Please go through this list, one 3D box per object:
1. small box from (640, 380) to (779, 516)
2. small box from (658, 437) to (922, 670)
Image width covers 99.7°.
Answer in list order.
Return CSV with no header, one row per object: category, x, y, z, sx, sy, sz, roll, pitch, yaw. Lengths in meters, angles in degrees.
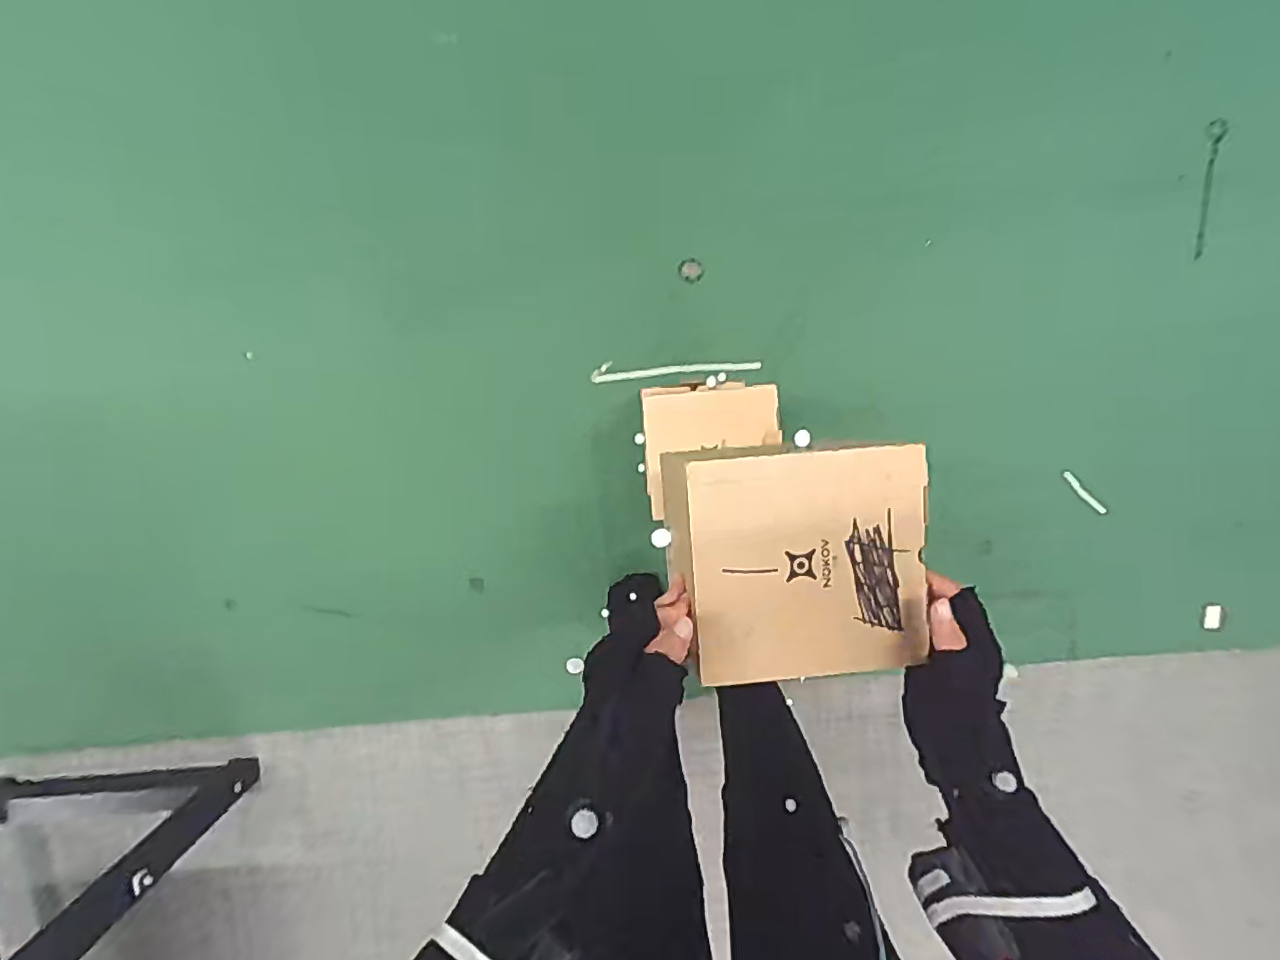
small box,0.095,-0.050,0.778,0.179,0.176,0.168,-6,99,0
small box,0.113,0.047,0.468,0.179,0.176,0.168,-3,94,-4
